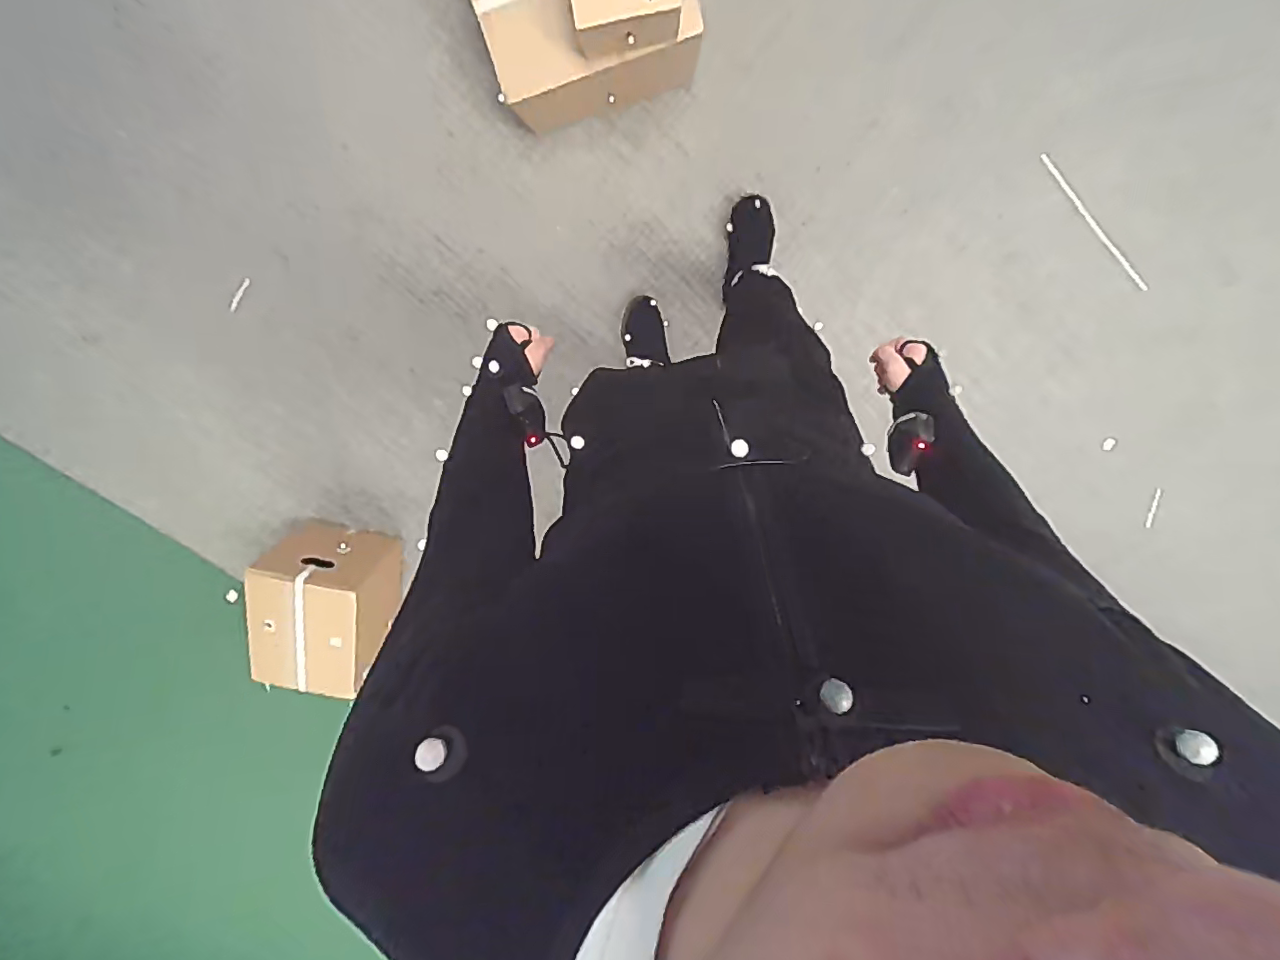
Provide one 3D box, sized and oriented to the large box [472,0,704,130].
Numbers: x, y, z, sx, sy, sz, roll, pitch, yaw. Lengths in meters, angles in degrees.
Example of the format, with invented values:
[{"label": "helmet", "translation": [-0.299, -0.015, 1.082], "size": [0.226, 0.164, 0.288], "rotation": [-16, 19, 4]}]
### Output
[{"label": "large box", "translation": [-0.109, -0.977, 1.101], "size": [0.408, 0.320, 0.320], "rotation": [-15, 111, 8]}]
